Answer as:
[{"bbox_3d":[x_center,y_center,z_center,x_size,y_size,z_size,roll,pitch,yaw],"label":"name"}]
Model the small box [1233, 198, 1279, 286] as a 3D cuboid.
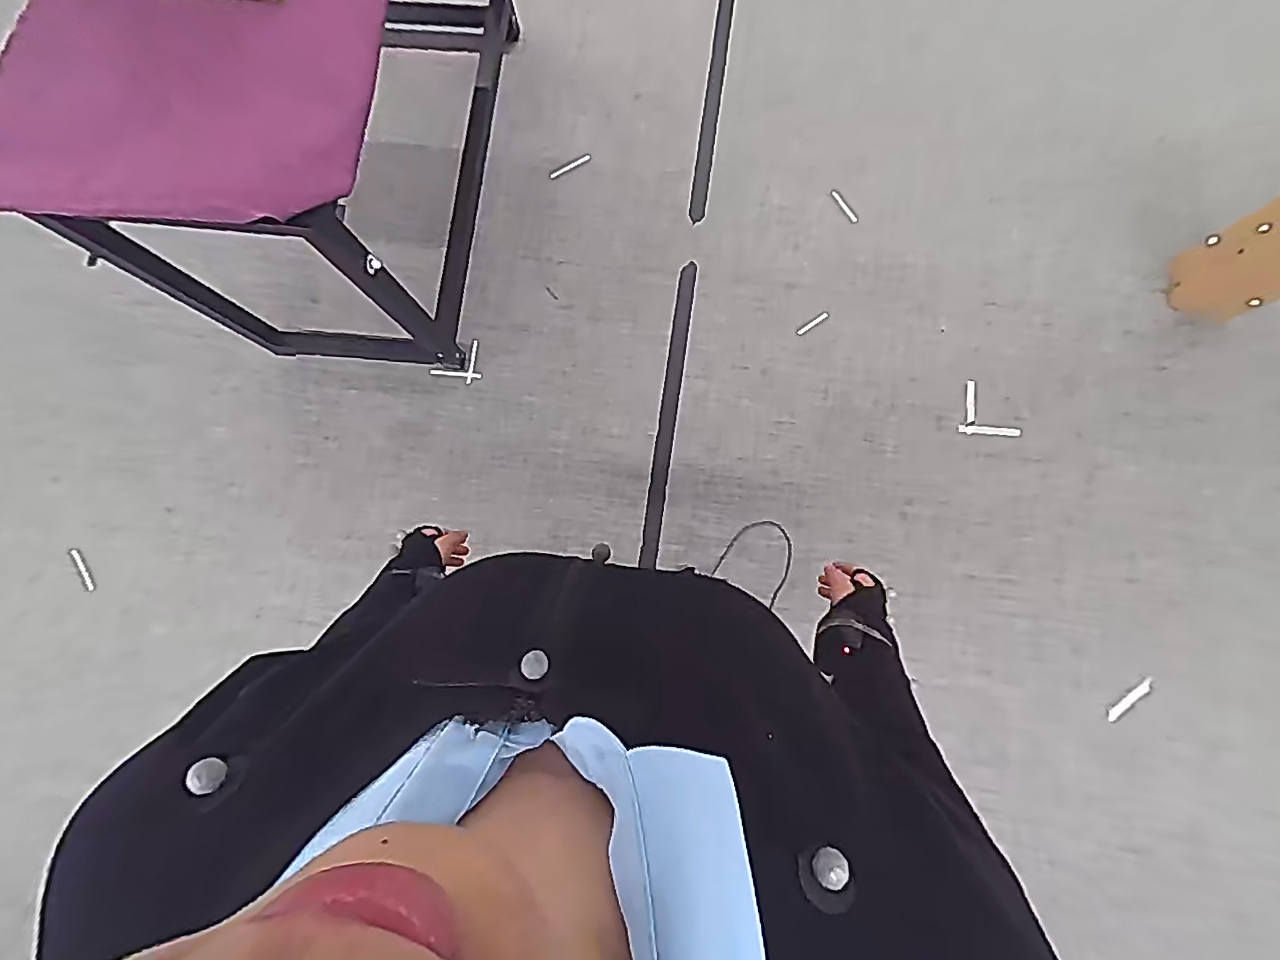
[{"bbox_3d":[1.655,-0.606,1.349,0.179,0.176,0.168,14,82,3],"label":"small box"}]
